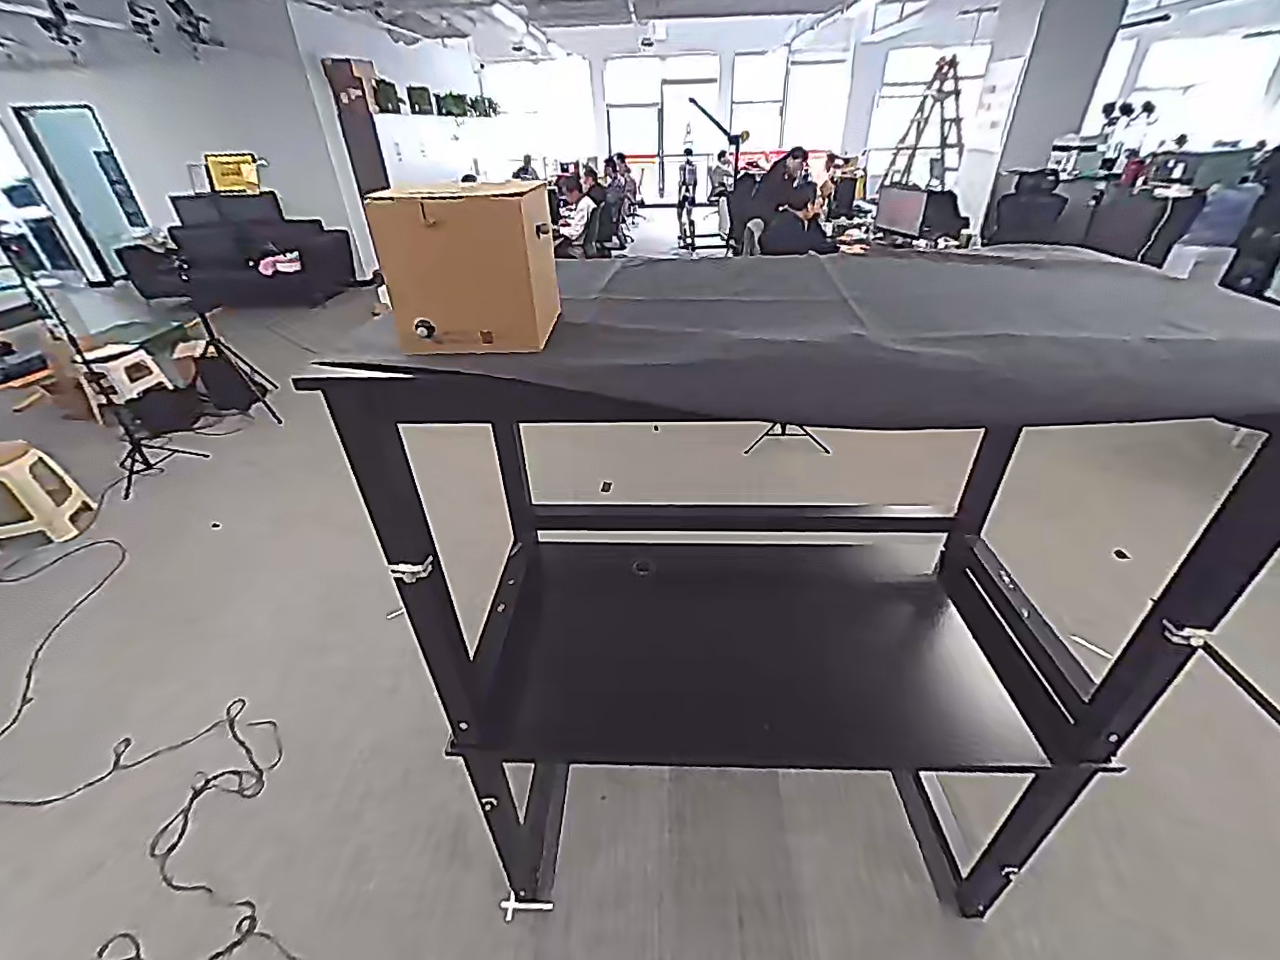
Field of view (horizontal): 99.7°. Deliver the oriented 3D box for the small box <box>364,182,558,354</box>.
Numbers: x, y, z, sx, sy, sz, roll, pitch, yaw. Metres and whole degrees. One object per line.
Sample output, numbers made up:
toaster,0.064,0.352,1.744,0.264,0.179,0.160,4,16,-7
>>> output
small box,-0.198,-0.259,0.662,0.168,0.176,0.179,-1,33,1
